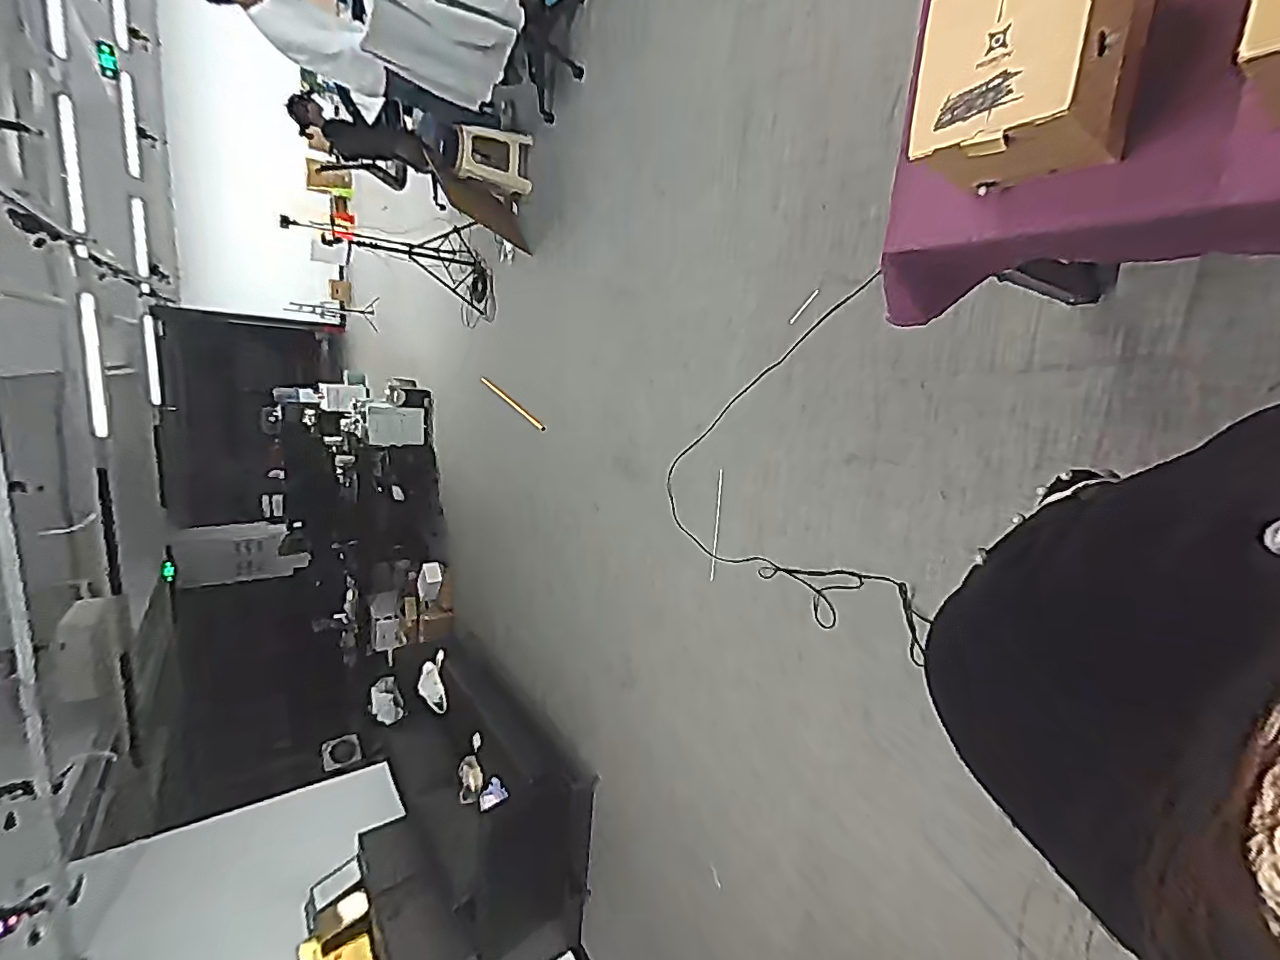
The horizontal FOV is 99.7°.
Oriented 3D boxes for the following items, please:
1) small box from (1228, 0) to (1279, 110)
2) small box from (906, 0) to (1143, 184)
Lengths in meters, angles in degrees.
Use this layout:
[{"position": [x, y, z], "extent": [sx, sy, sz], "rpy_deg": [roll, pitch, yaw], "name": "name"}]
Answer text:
[{"position": [0.603, -0.414, 0.411], "extent": [0.168, 0.176, 0.179], "rpy_deg": [19, 108, 52], "name": "small box"}, {"position": [0.443, -0.466, 0.628], "extent": [0.168, 0.176, 0.179], "rpy_deg": [18, 106, 52], "name": "small box"}]
